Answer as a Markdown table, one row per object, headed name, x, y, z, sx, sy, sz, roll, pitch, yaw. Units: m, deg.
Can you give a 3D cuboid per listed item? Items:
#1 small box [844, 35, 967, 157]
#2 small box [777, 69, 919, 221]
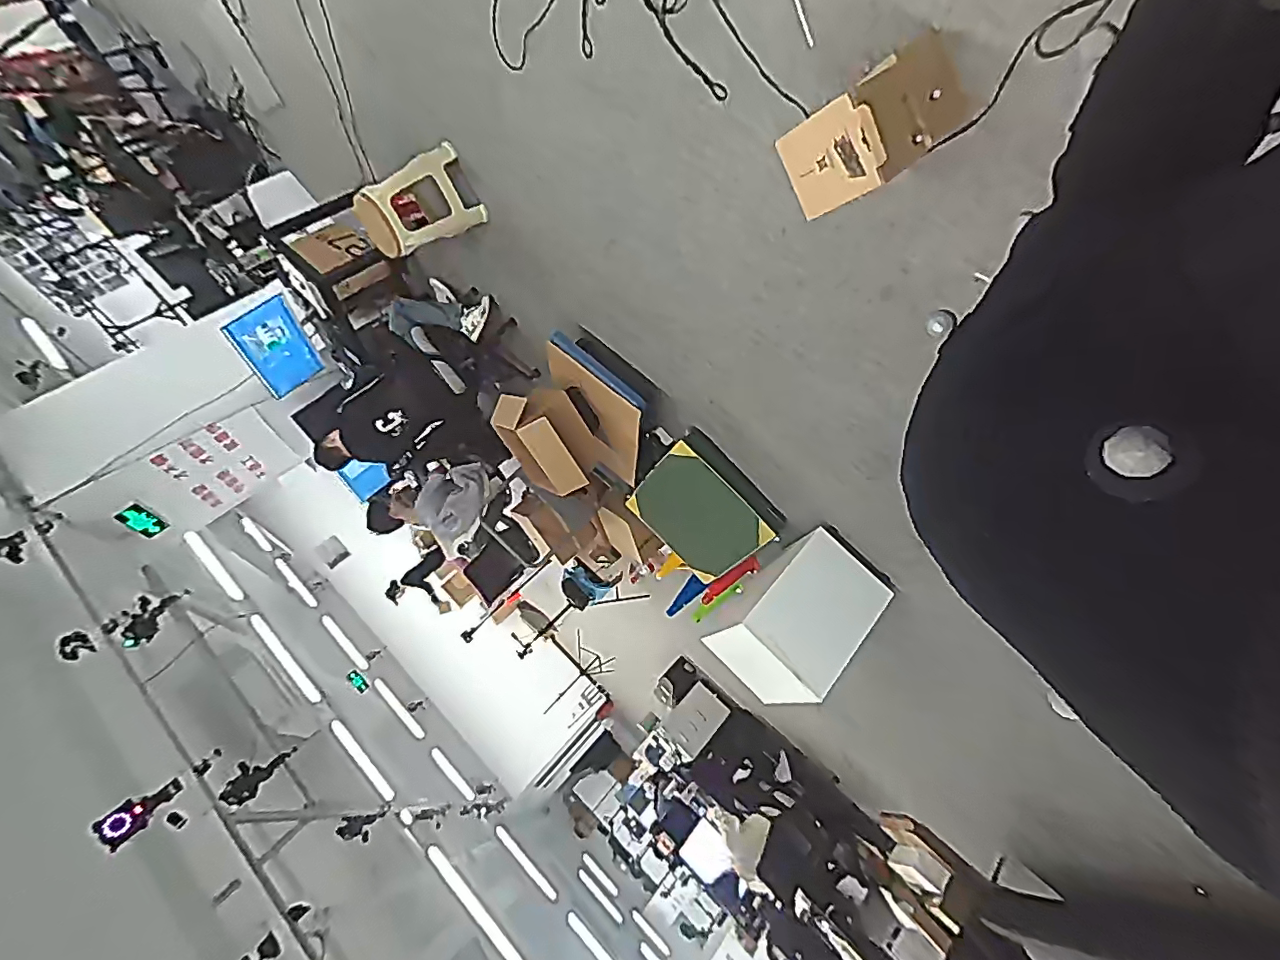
| name | x | y | z | sx | sy | sz | roll | pitch | yaw |
| --- | --- | --- | --- | --- | --- | --- | --- | --- | --- |
| small box | 0.523 | -0.744 | 1.097 | 0.179 | 0.176 | 0.168 | 55 | 155 | -15 |
| small box | 0.407 | -0.640 | 1.040 | 0.179 | 0.176 | 0.168 | 3 | 129 | 59 |
